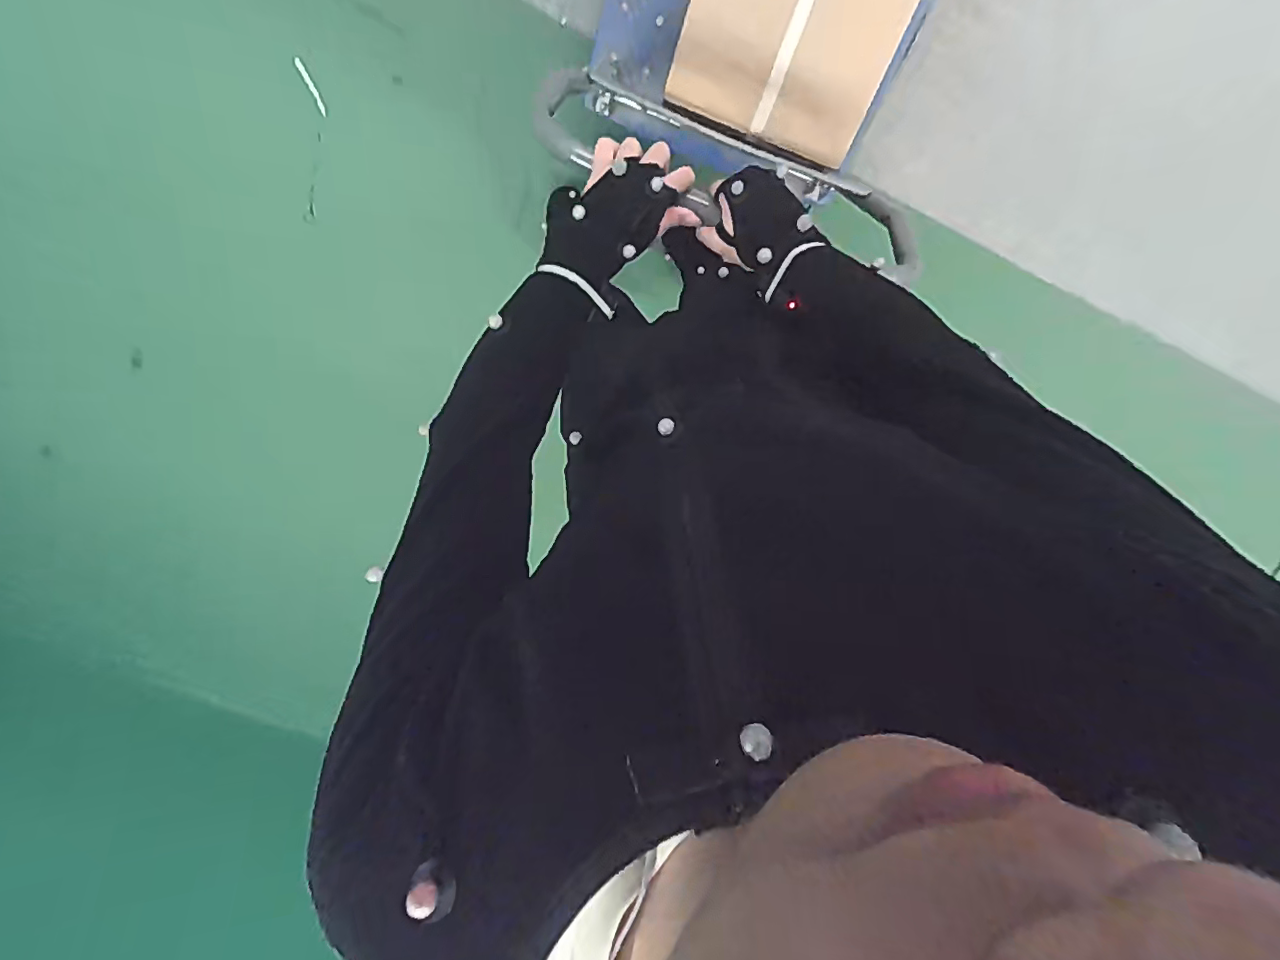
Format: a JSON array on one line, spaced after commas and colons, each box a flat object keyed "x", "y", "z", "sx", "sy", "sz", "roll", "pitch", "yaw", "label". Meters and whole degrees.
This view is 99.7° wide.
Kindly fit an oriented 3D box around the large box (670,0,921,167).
[{"x": 0.258, "y": -0.788, "z": 0.889, "sx": 0.320, "sy": 0.320, "sz": 0.408, "roll": 17, "pitch": 122, "yaw": -8, "label": "large box"}]
